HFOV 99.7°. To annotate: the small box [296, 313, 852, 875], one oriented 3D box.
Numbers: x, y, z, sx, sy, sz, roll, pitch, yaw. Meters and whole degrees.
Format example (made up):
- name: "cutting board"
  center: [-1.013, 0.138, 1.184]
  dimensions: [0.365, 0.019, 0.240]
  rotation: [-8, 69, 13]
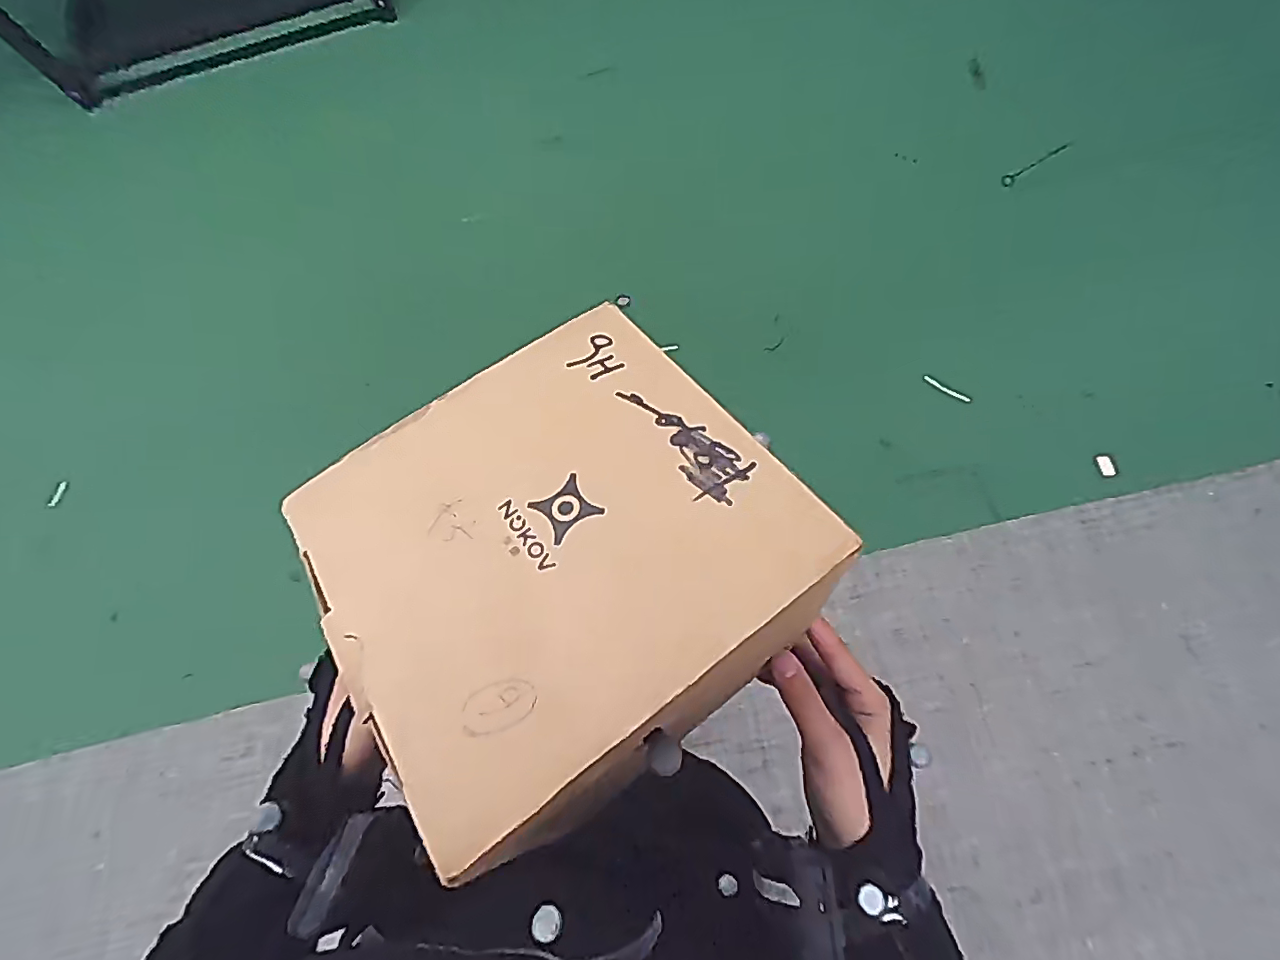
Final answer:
- name: "small box"
  center: [-0.025, 0.058, 0.283]
  dimensions: [0.179, 0.176, 0.168]
  rotation: [-35, 63, -11]
